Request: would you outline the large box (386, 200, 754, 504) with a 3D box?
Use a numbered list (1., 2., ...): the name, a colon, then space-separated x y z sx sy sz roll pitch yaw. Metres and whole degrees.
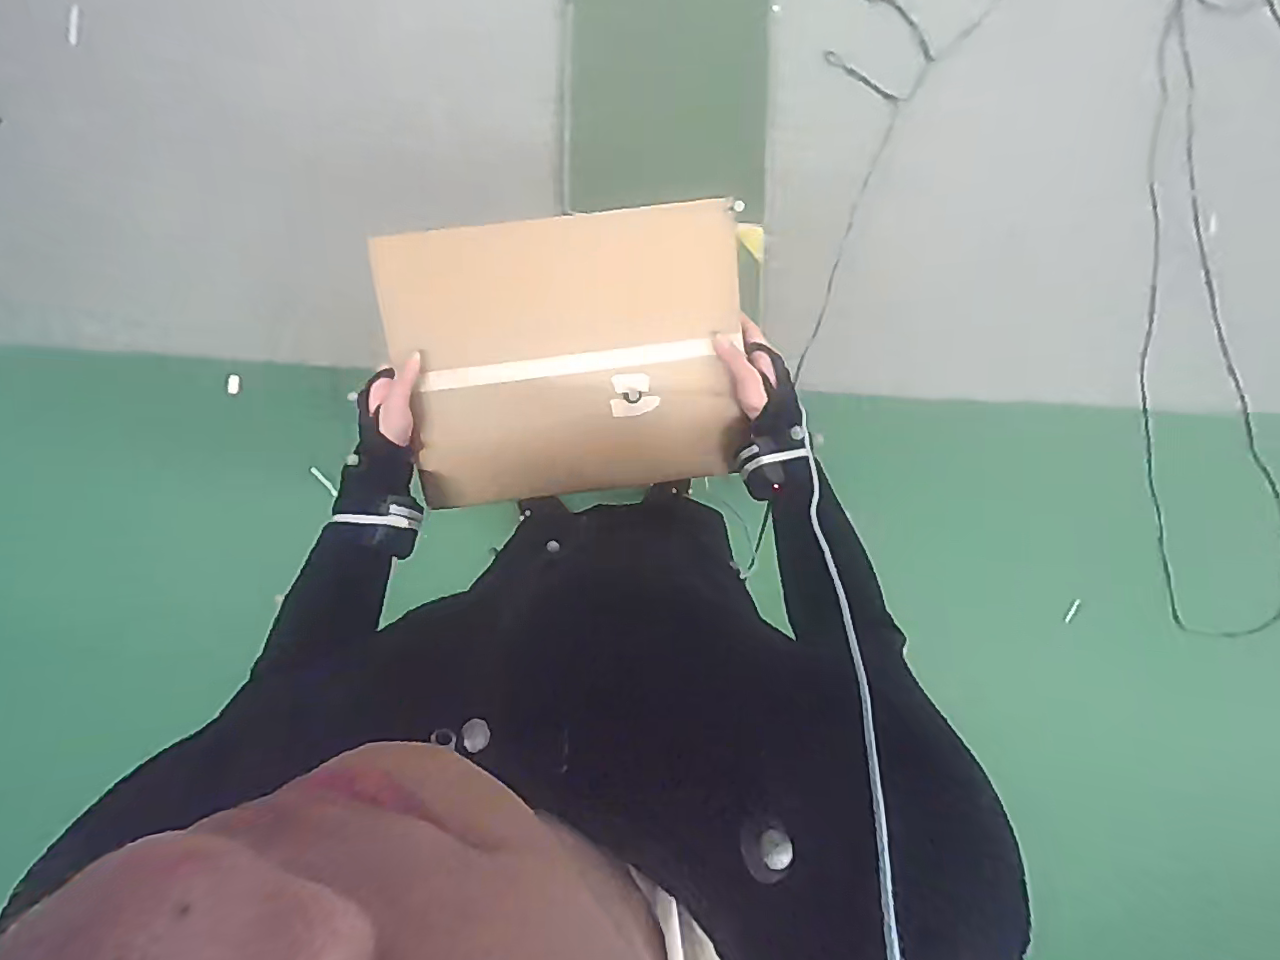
1. large box: -0.081 -0.174 0.785 0.408 0.320 0.320 -7 103 -2
